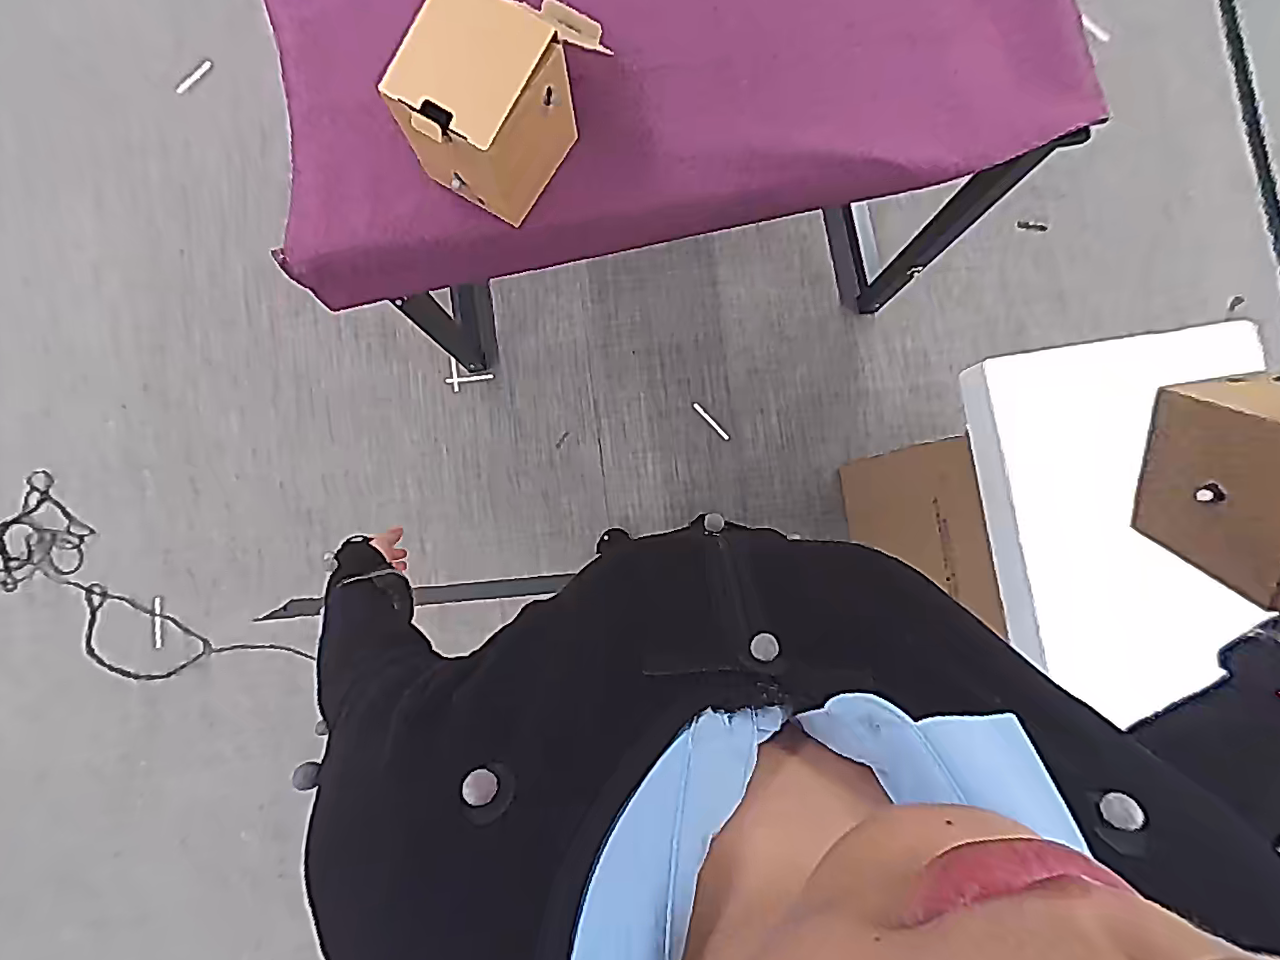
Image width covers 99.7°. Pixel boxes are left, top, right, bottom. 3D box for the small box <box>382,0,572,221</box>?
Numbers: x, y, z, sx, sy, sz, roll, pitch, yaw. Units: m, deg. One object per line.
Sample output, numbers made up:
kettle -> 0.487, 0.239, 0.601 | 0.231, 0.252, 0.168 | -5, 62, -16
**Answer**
small box -> -0.209, -0.510, 0.752 | 0.168, 0.176, 0.179 | 31, 85, 4
